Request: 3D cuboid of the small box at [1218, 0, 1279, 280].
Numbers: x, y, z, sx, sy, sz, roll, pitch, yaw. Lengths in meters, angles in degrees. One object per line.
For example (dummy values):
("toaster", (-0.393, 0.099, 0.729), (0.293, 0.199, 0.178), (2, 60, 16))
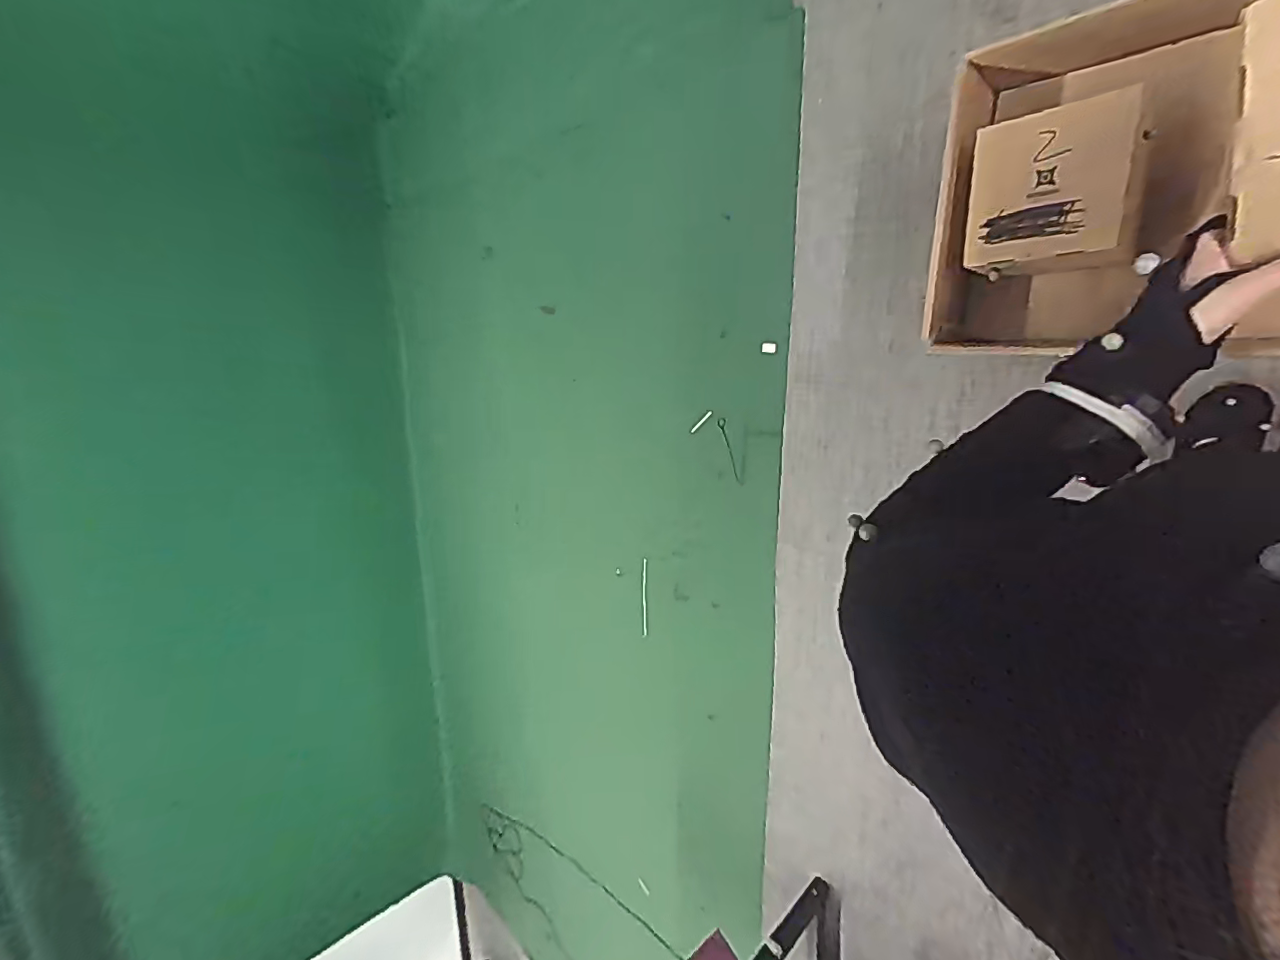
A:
("small box", (0.478, -0.237, 0.309), (0.179, 0.176, 0.168), (9, 131, 52))
